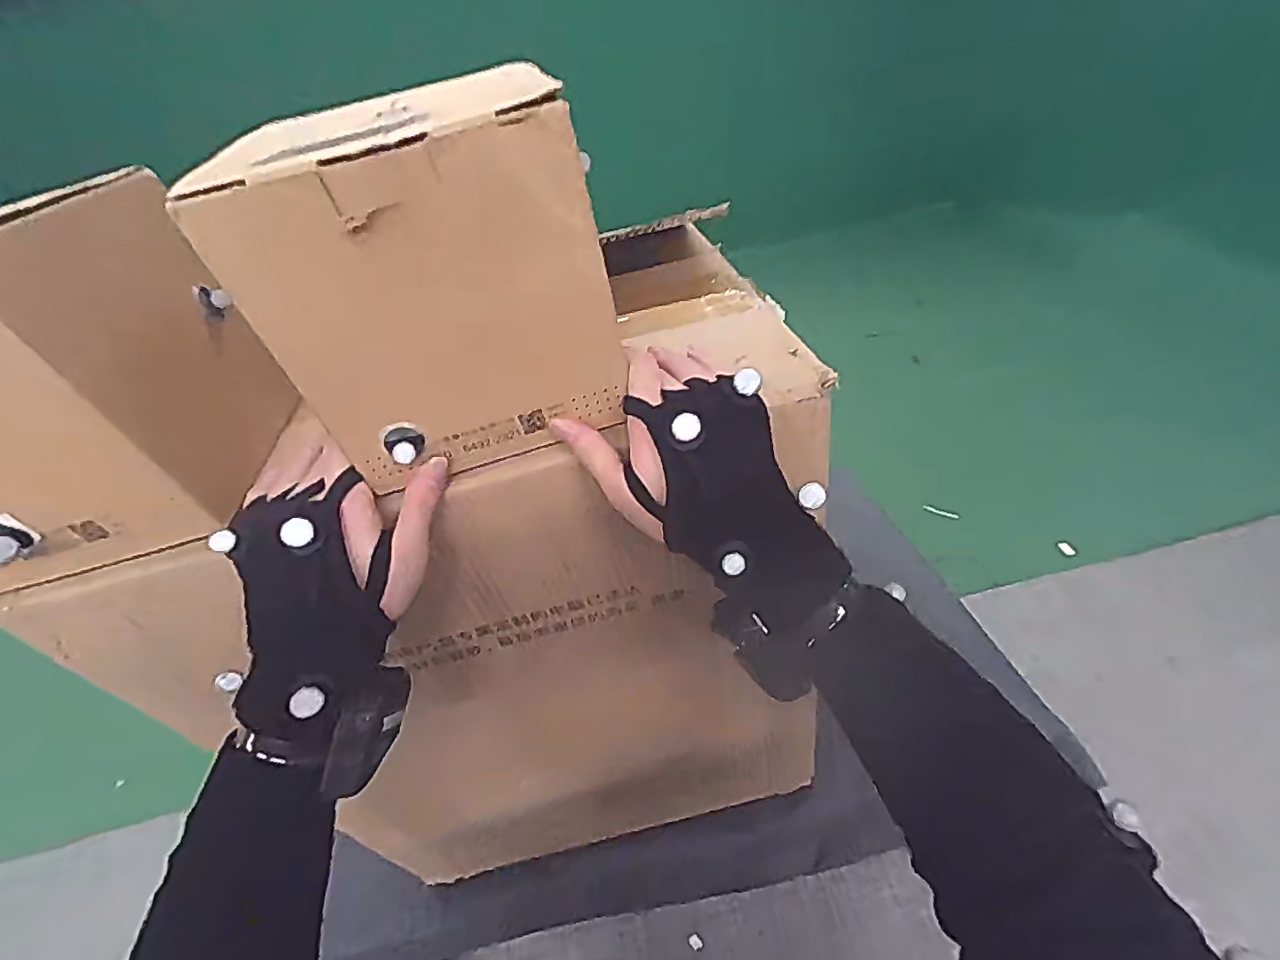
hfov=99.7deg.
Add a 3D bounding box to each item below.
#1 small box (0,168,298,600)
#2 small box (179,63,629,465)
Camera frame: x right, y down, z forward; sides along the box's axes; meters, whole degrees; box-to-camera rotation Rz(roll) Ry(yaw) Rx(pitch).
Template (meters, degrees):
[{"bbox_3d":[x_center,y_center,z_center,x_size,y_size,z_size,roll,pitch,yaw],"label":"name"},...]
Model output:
[{"bbox_3d":[-0.348,-0.060,0.326,0.168,0.176,0.179,-18,42,-2],"label":"small box"},{"bbox_3d":[-0.114,-0.128,0.334,0.168,0.176,0.179,-18,43,-5],"label":"small box"}]
